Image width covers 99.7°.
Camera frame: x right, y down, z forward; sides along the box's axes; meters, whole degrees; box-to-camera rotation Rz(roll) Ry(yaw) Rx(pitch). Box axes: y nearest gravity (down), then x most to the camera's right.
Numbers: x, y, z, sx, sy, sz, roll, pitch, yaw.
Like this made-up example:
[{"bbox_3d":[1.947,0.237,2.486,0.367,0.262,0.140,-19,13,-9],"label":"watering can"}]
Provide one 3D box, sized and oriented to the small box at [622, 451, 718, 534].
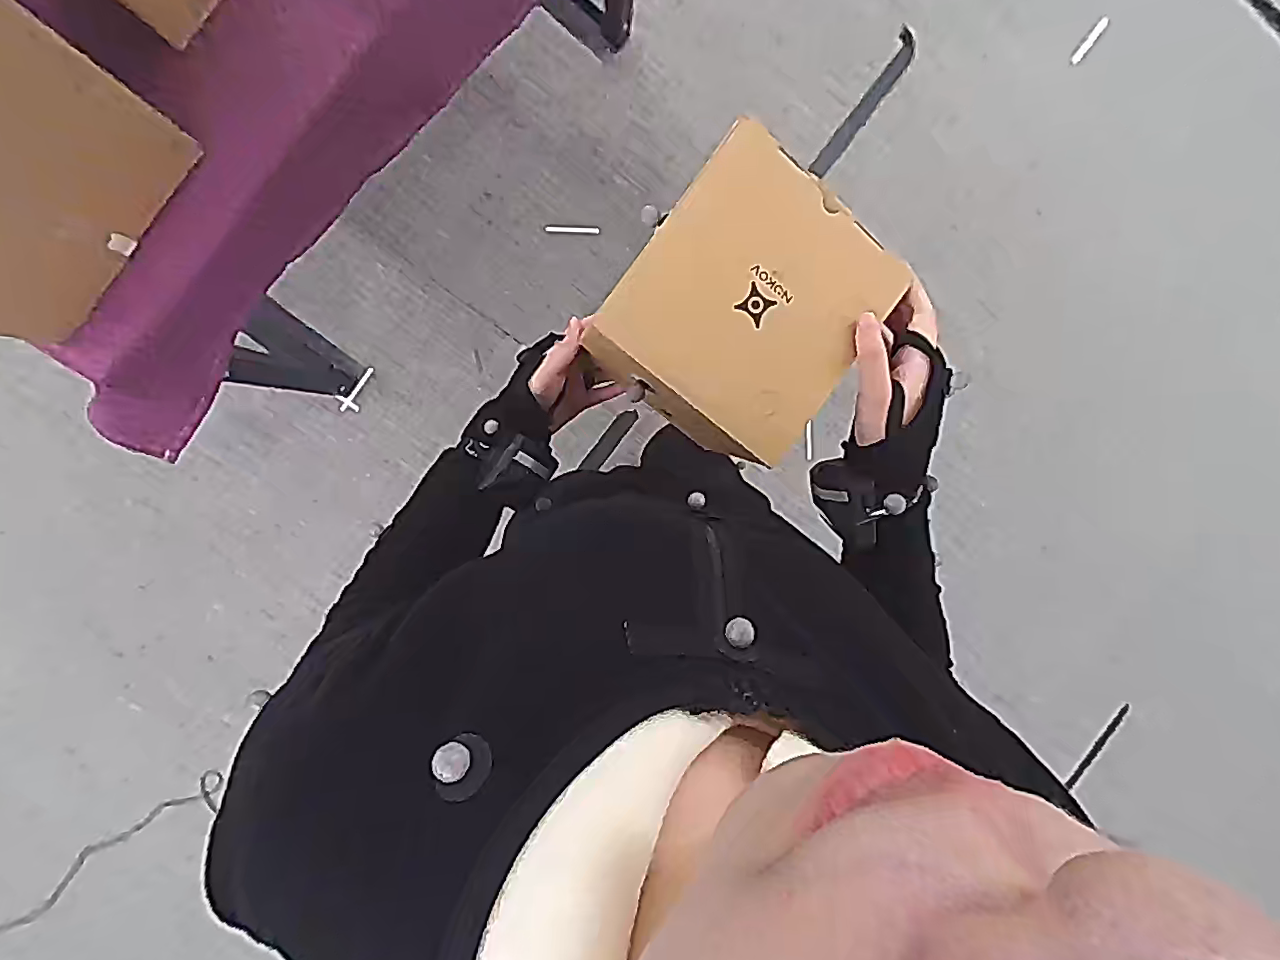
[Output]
[{"bbox_3d":[0.079,0.035,1.413,0.179,0.176,0.168,-21,71,22],"label":"small box"}]
